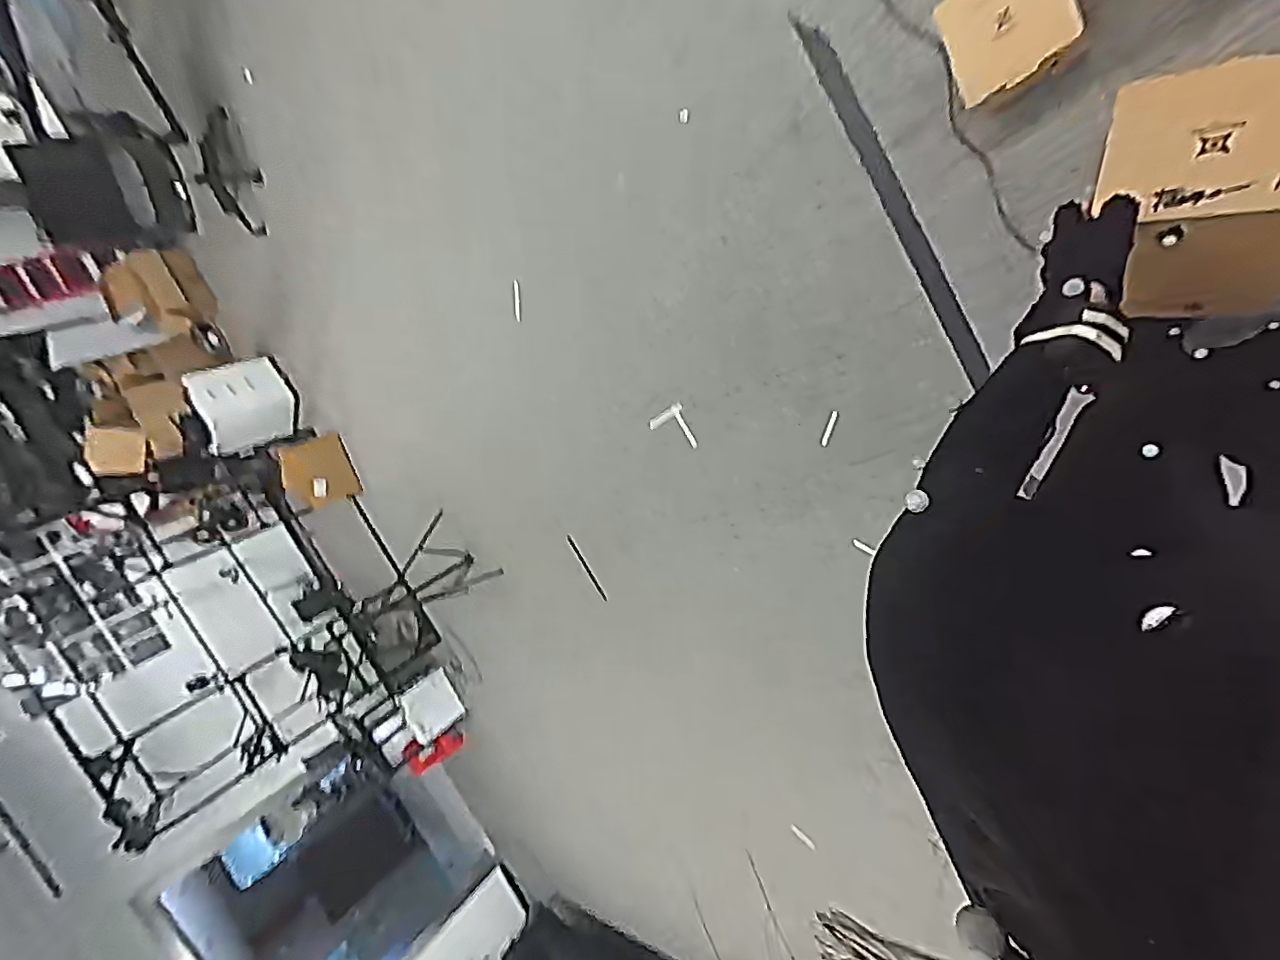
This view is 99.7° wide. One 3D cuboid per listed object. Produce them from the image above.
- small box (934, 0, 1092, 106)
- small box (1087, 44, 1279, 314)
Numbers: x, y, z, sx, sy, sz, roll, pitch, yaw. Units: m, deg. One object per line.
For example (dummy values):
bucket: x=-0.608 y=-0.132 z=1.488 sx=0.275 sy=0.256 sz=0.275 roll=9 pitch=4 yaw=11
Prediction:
small box: x=0.630 y=-0.768 z=0.908 sx=0.168 sy=0.176 sz=0.179 roll=-19 pitch=99 yaw=47
small box: x=0.578 y=-0.291 z=0.548 sx=0.168 sy=0.176 sz=0.179 roll=12 pitch=79 yaw=38
